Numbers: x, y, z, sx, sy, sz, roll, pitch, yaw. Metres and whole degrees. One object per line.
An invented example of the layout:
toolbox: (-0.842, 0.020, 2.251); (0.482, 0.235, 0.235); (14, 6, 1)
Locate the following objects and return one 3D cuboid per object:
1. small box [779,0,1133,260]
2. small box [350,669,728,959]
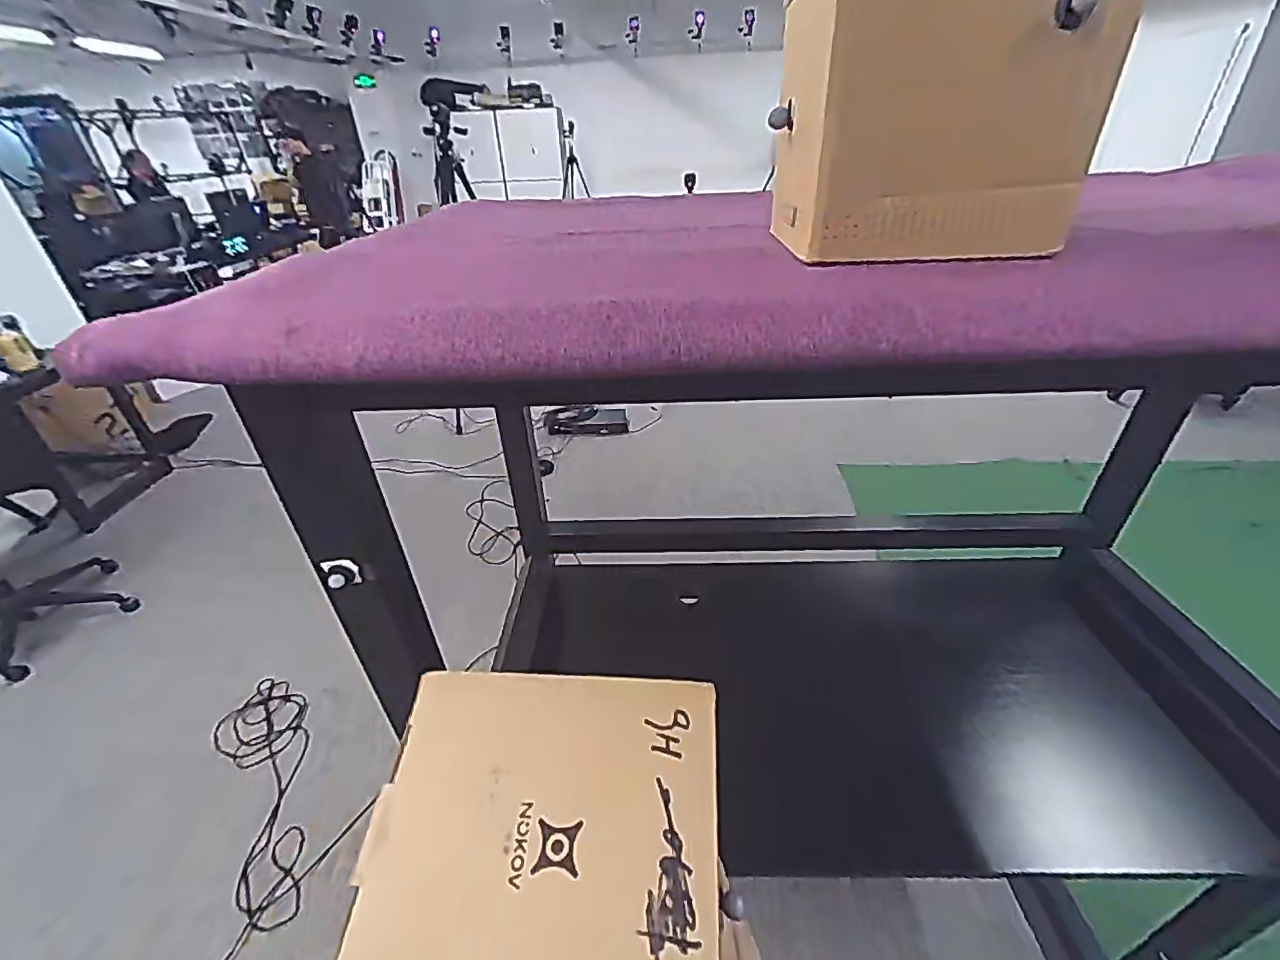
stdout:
small box: (0.203, -0.263, 0.397); (0.179, 0.176, 0.168); (0, 32, 3)
small box: (-0.037, 0.229, 0.334); (0.179, 0.176, 0.168); (0, 53, 6)
